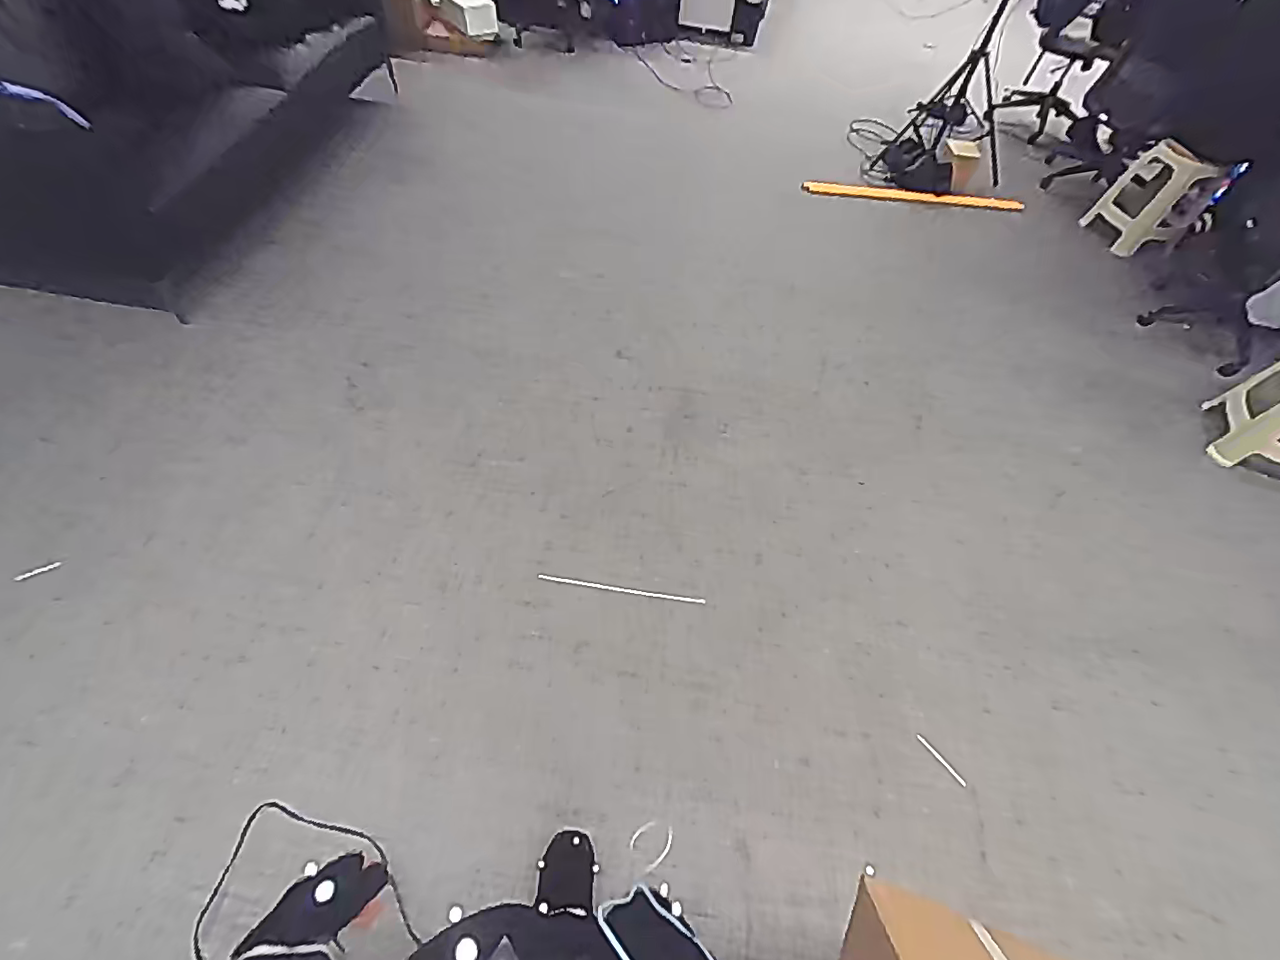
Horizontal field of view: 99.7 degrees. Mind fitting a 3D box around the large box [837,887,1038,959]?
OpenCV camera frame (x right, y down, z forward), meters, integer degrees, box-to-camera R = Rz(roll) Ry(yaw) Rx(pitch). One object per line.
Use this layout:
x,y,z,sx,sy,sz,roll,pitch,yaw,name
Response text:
0.395,0.771,0.579,0.320,0.408,0.320,19,85,10,large box
